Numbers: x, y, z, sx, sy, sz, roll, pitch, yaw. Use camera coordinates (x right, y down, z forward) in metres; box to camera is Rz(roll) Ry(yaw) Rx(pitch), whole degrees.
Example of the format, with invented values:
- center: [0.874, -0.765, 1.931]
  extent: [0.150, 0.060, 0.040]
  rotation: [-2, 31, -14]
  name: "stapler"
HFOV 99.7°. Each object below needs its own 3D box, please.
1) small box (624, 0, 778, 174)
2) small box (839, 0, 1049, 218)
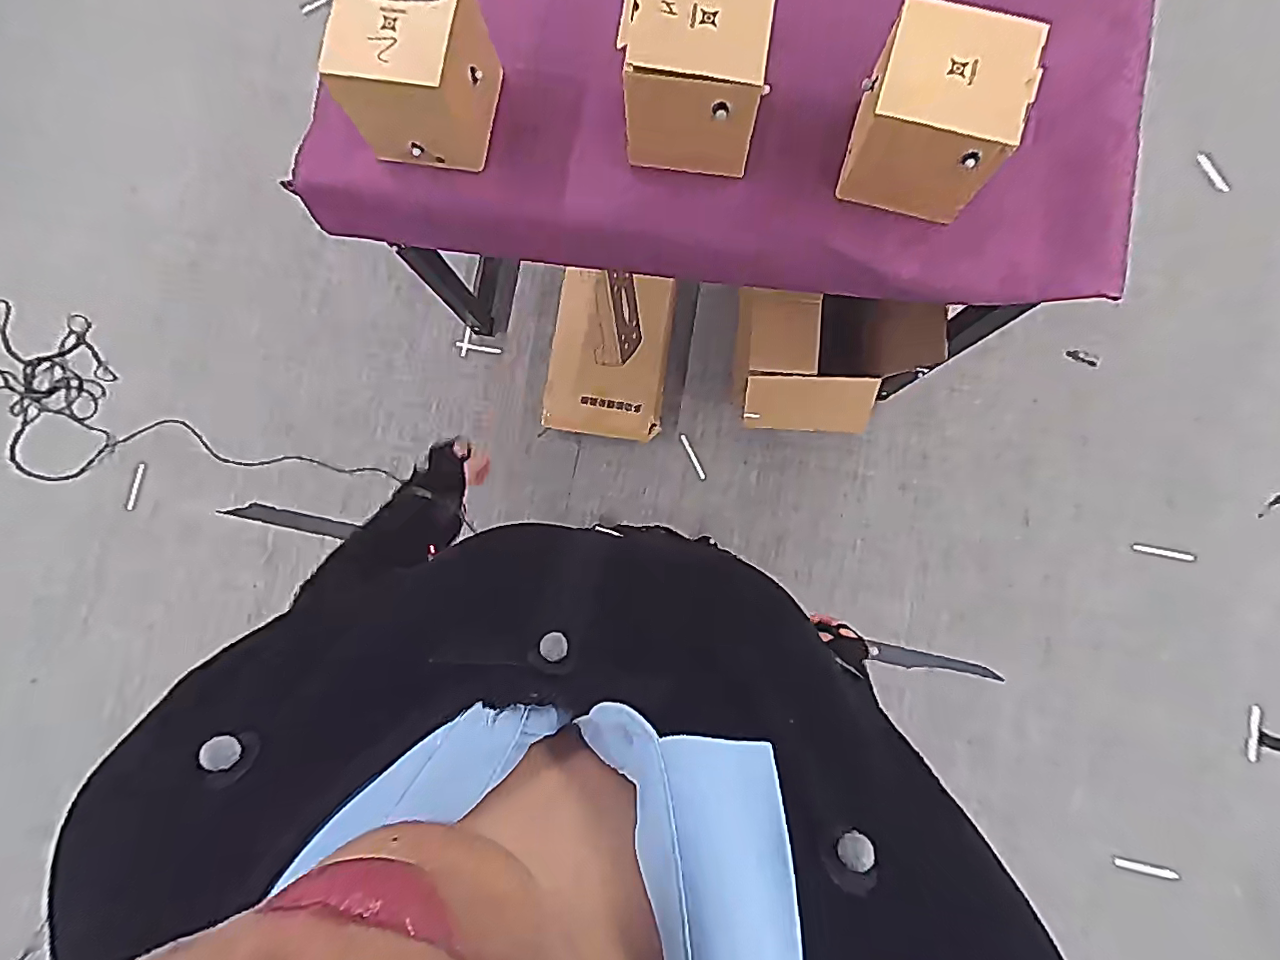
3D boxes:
- center: [0.081, -0.557, 0.747]
  extent: [0.179, 0.176, 0.168]
  rotation: [9, 83, 4]
  name: "small box"
- center: [0.390, -0.485, 0.727]
  extent: [0.179, 0.176, 0.168]
  rotation: [16, 85, 4]
  name: "small box"
